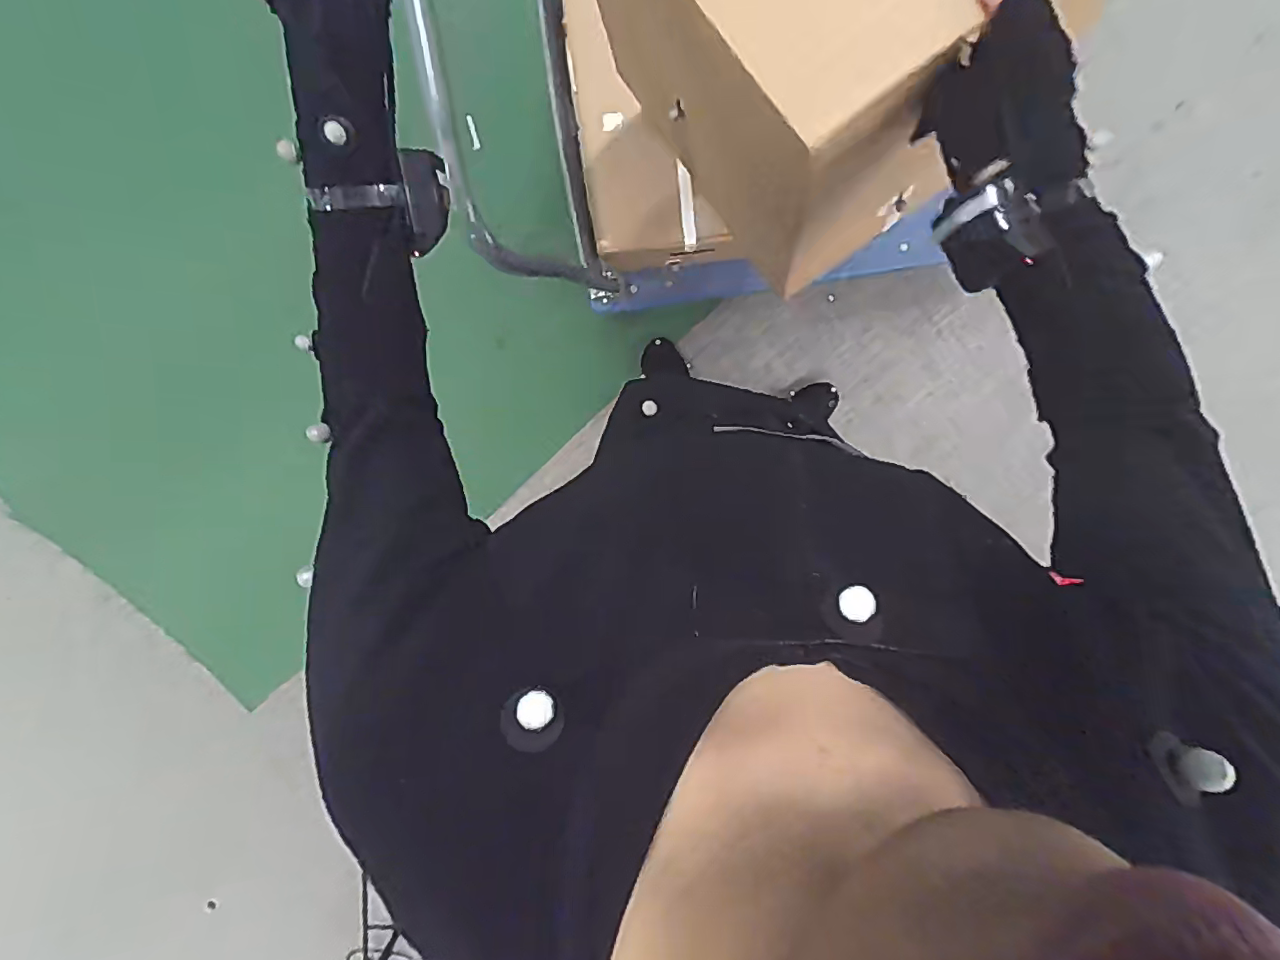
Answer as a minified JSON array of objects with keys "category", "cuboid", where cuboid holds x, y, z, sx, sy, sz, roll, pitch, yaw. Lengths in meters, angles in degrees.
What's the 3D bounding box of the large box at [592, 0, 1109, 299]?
[{"category":"large box","cuboid":[0.171,-0.471,0.538,0.320,0.320,0.408,-35,82,8]}]
